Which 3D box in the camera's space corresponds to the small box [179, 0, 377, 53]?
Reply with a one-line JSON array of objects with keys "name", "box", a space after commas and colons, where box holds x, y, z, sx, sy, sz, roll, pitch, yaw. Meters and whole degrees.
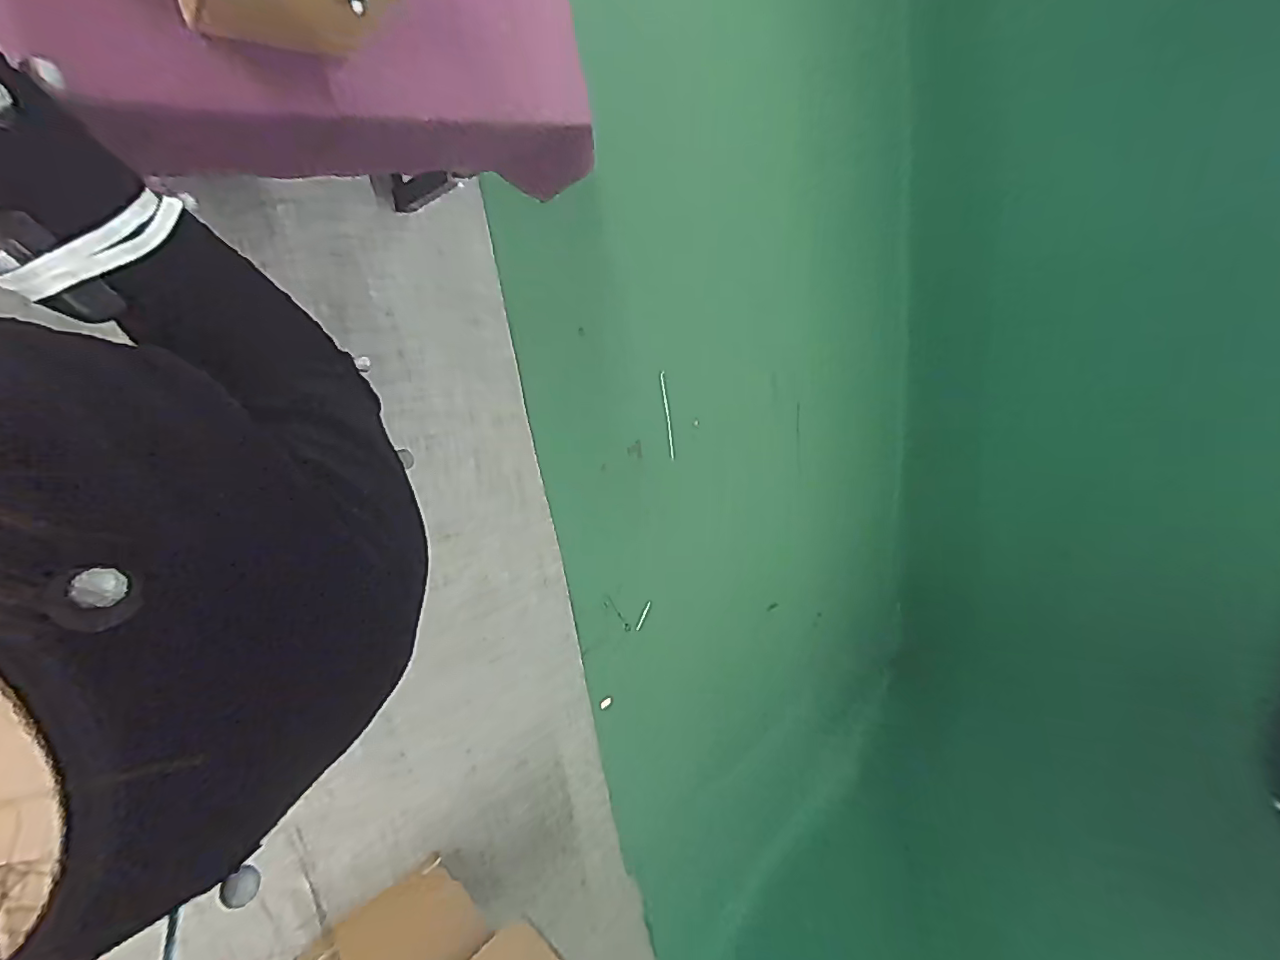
[{"name": "small box", "box": [-0.382, -0.575, 0.550, 0.179, 0.176, 0.168, -25, 113, -40]}]
